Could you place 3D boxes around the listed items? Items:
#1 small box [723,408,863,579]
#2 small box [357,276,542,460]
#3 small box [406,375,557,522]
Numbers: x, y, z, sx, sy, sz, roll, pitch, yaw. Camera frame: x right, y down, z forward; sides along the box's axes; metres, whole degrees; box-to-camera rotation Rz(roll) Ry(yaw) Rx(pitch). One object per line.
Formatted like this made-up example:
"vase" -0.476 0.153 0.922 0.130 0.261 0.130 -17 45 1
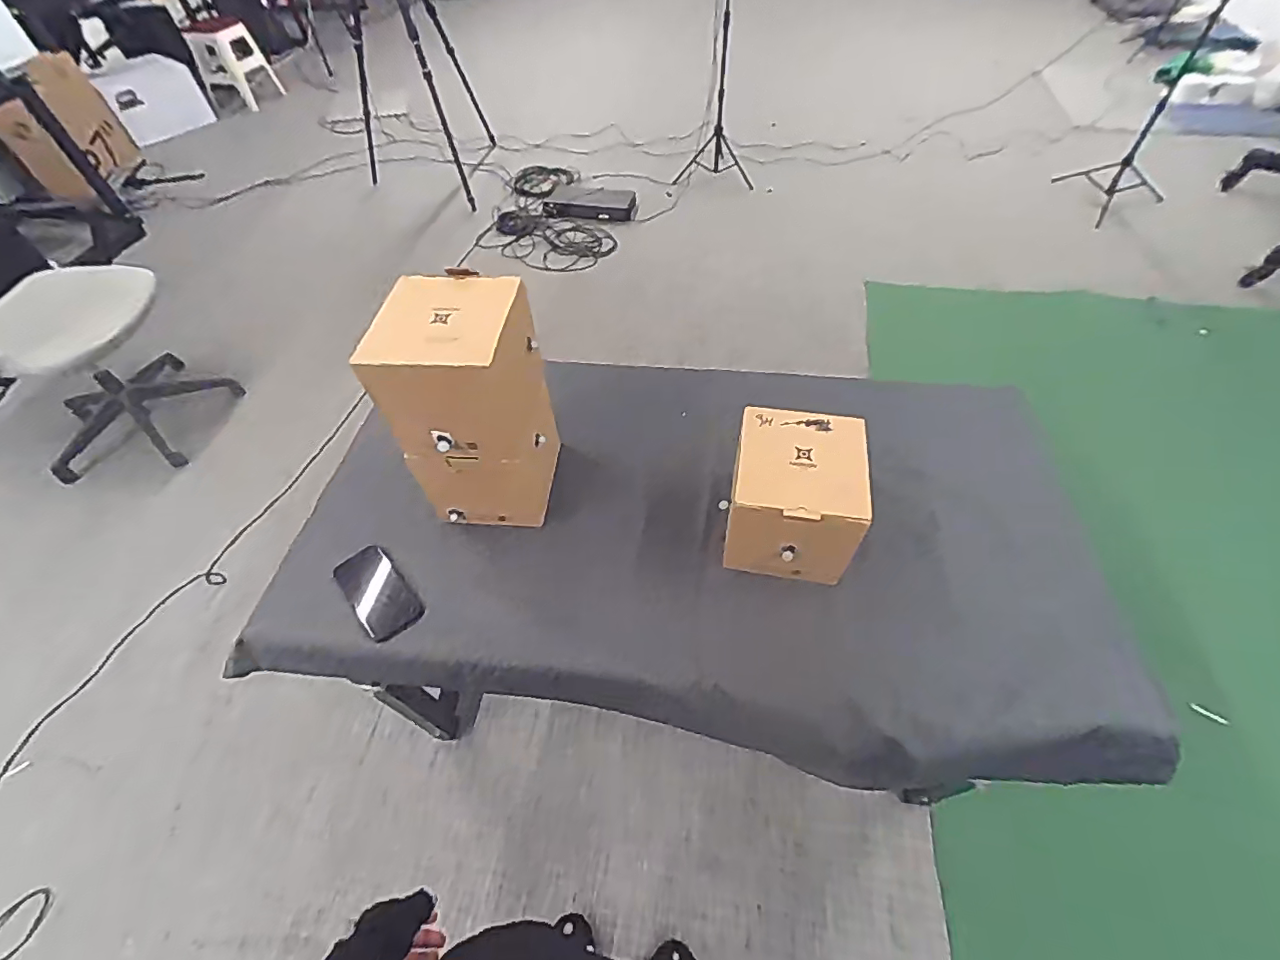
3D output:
"small box" 0.213 0.023 0.778 0.168 0.176 0.179 8 54 8
"small box" -0.233 -0.148 0.720 0.168 0.176 0.179 2 54 4
"small box" -0.232 -0.050 0.849 0.168 0.176 0.179 3 52 4
